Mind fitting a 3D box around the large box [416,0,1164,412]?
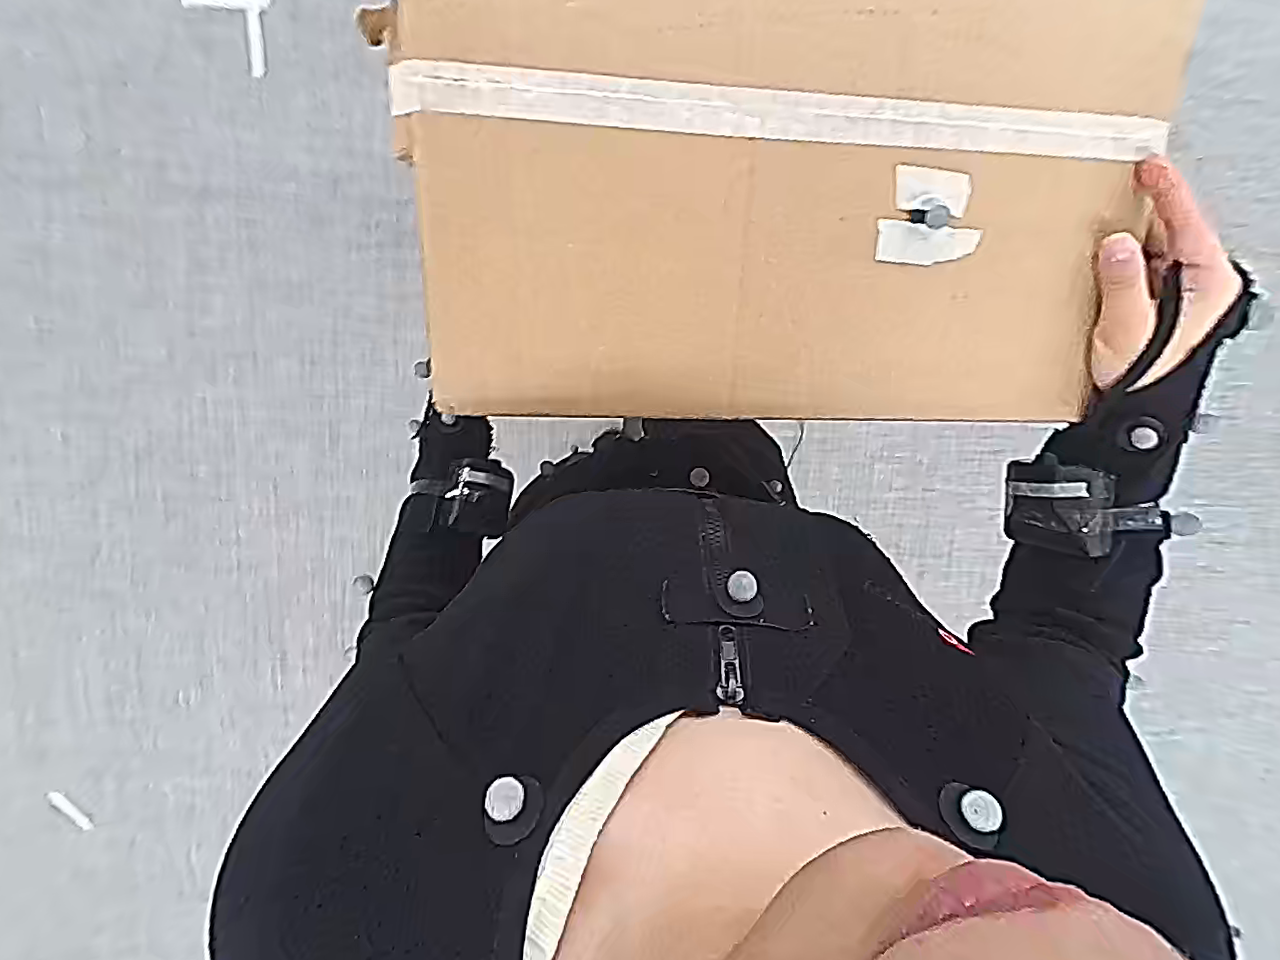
[{"bbox_3d":[0.068,-0.234,0.433,0.408,0.320,0.320,-1,107,-8],"label":"large box"}]
